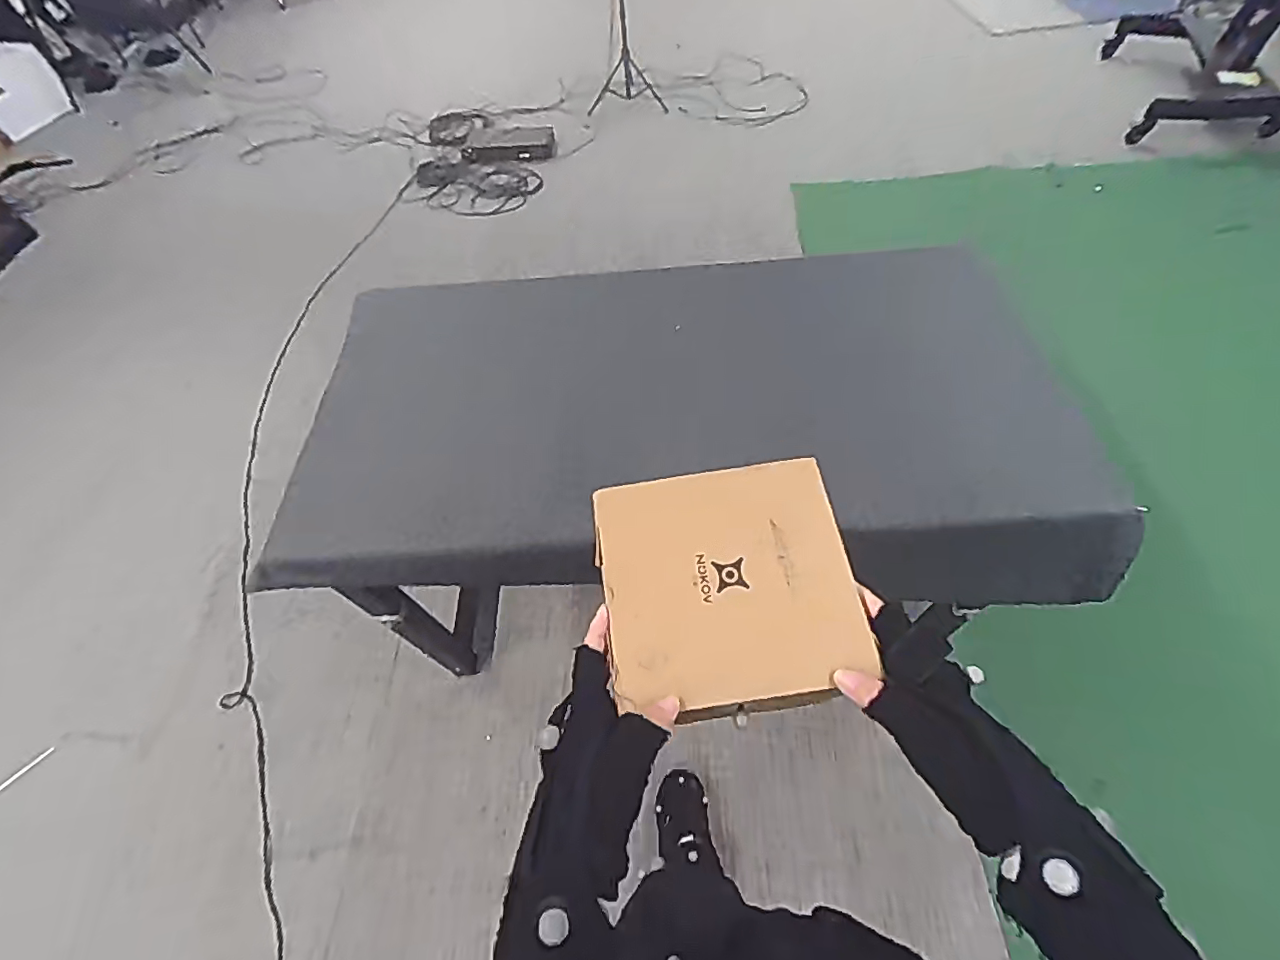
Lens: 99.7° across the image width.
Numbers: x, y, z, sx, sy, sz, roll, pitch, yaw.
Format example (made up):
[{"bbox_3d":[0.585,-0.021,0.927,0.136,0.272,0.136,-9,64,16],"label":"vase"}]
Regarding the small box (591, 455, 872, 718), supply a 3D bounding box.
[{"bbox_3d":[0.063,0.100,0.459,0.179,0.176,0.168,-9,64,-1],"label":"small box"}]
